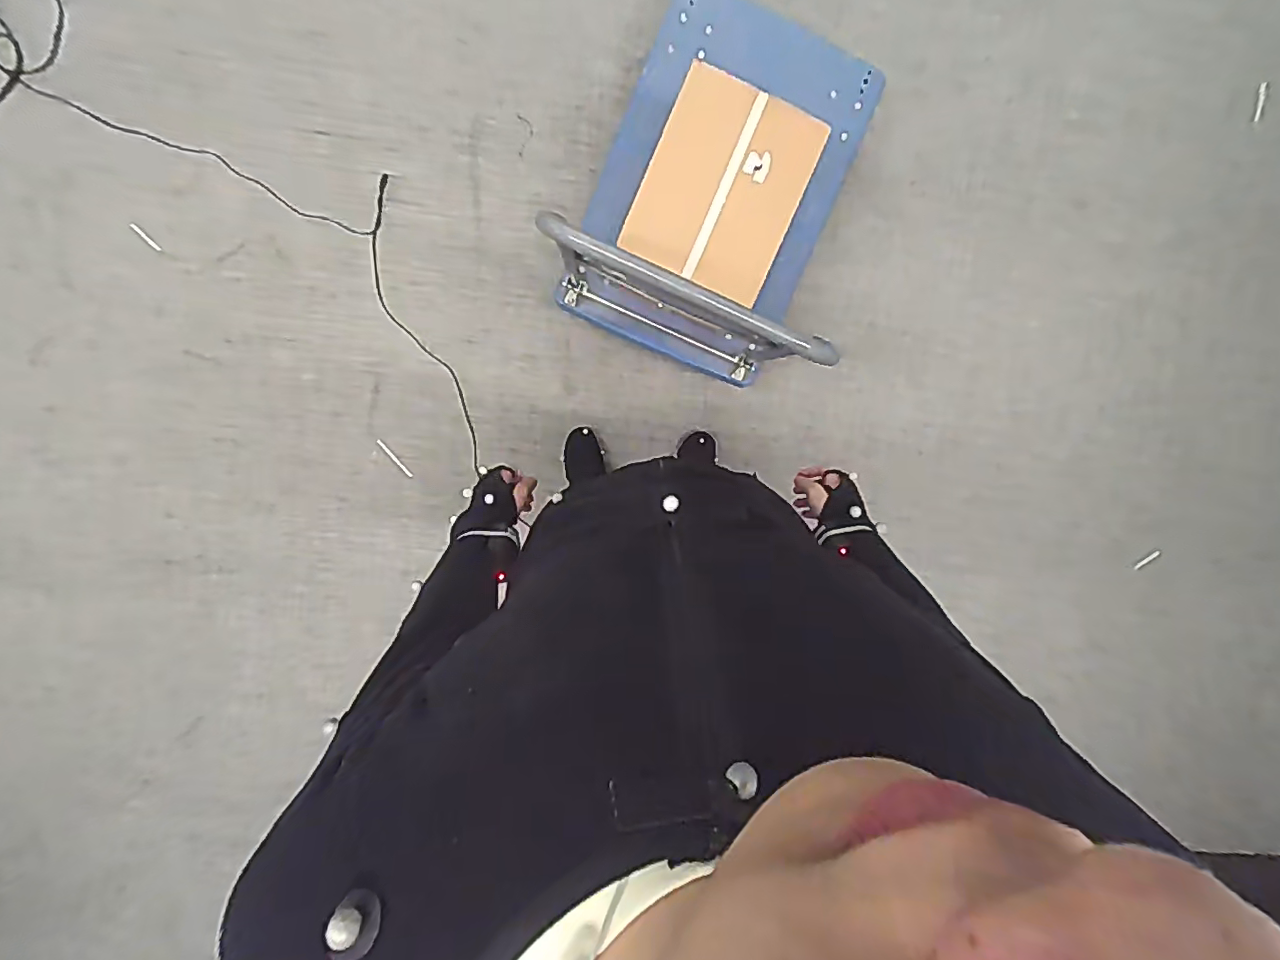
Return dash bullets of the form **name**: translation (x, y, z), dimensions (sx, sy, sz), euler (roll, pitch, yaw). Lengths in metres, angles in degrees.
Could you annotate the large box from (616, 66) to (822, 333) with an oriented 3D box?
- **large box**: translation (0.156, -0.612, 1.264), dimensions (0.320, 0.320, 0.408), euler (23, 93, -6)
